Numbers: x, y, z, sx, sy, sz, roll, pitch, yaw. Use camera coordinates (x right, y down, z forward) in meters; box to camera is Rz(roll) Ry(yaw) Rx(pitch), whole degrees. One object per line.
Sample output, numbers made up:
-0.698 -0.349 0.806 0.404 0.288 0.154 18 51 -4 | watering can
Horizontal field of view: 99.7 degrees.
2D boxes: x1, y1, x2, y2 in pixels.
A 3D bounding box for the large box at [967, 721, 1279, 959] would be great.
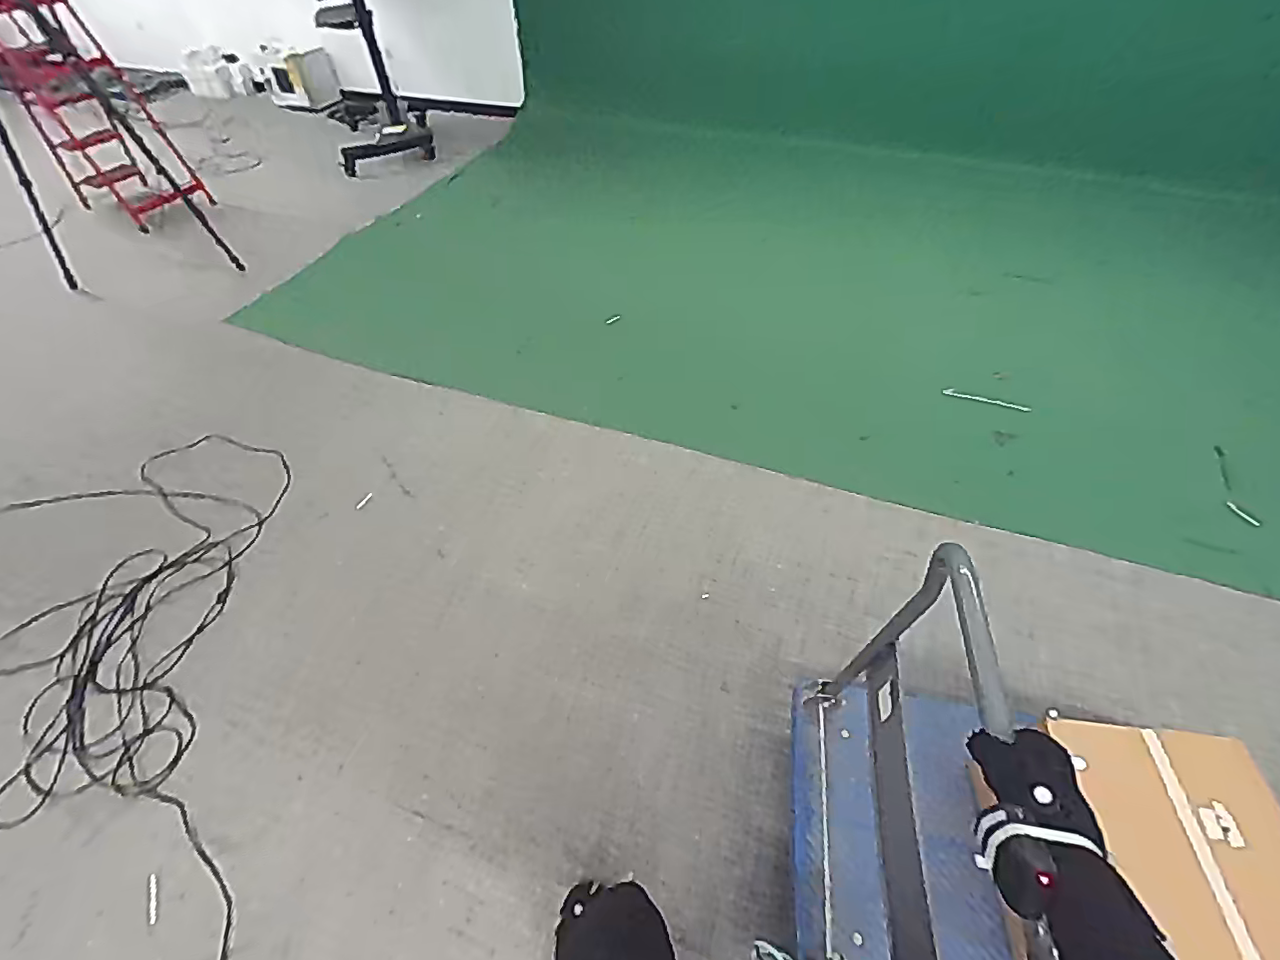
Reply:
0.813 0.671 0.895 0.320 0.320 0.408 5 49 5 | large box
